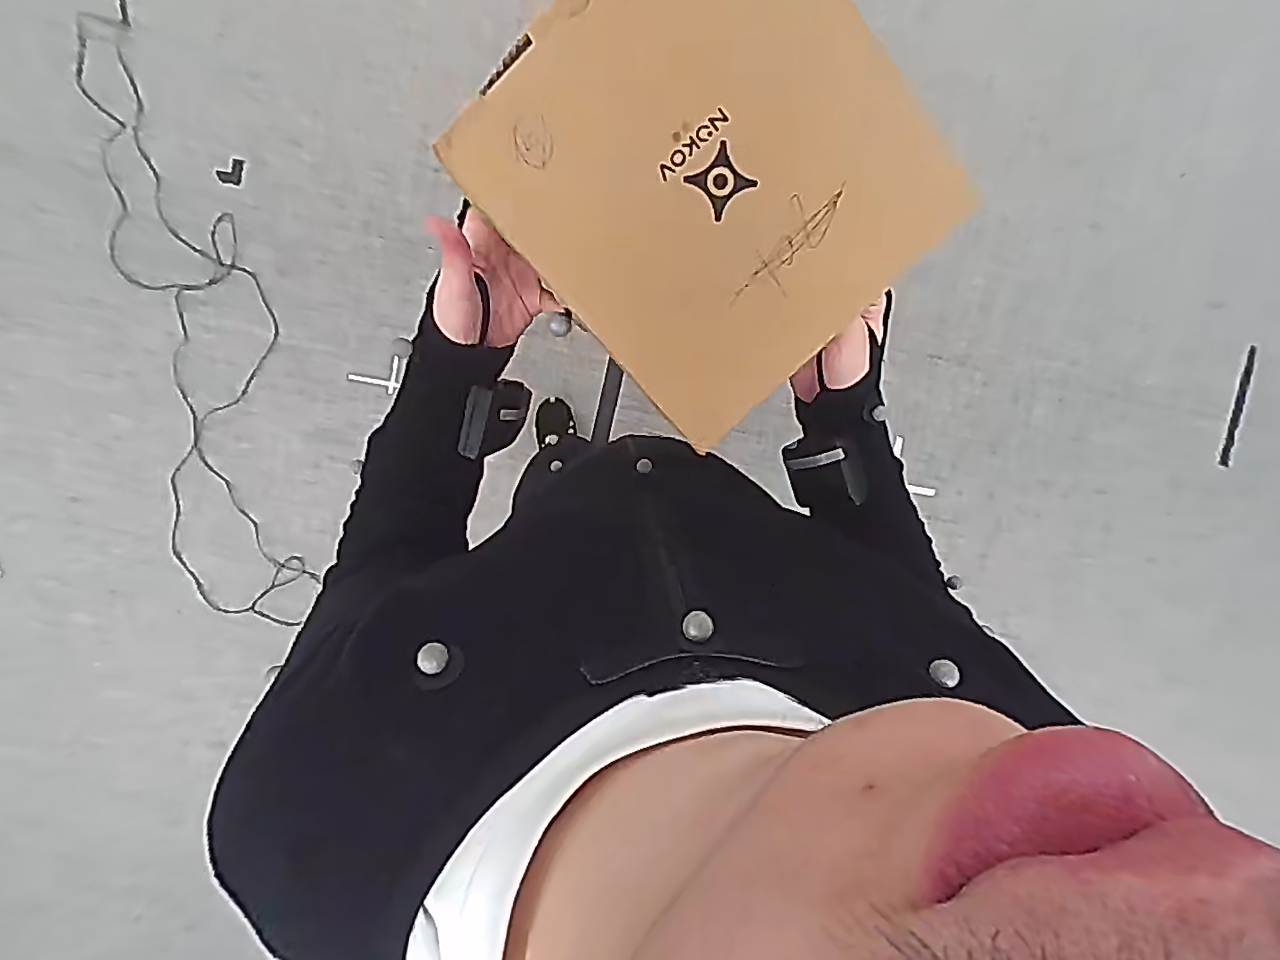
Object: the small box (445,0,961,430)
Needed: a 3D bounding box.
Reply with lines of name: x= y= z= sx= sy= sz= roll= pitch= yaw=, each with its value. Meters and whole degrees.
small box: x=0.027 y=-0.152 z=0.318 sx=0.168 sy=0.176 sz=0.179 roll=-43 pitch=101 yaw=7
